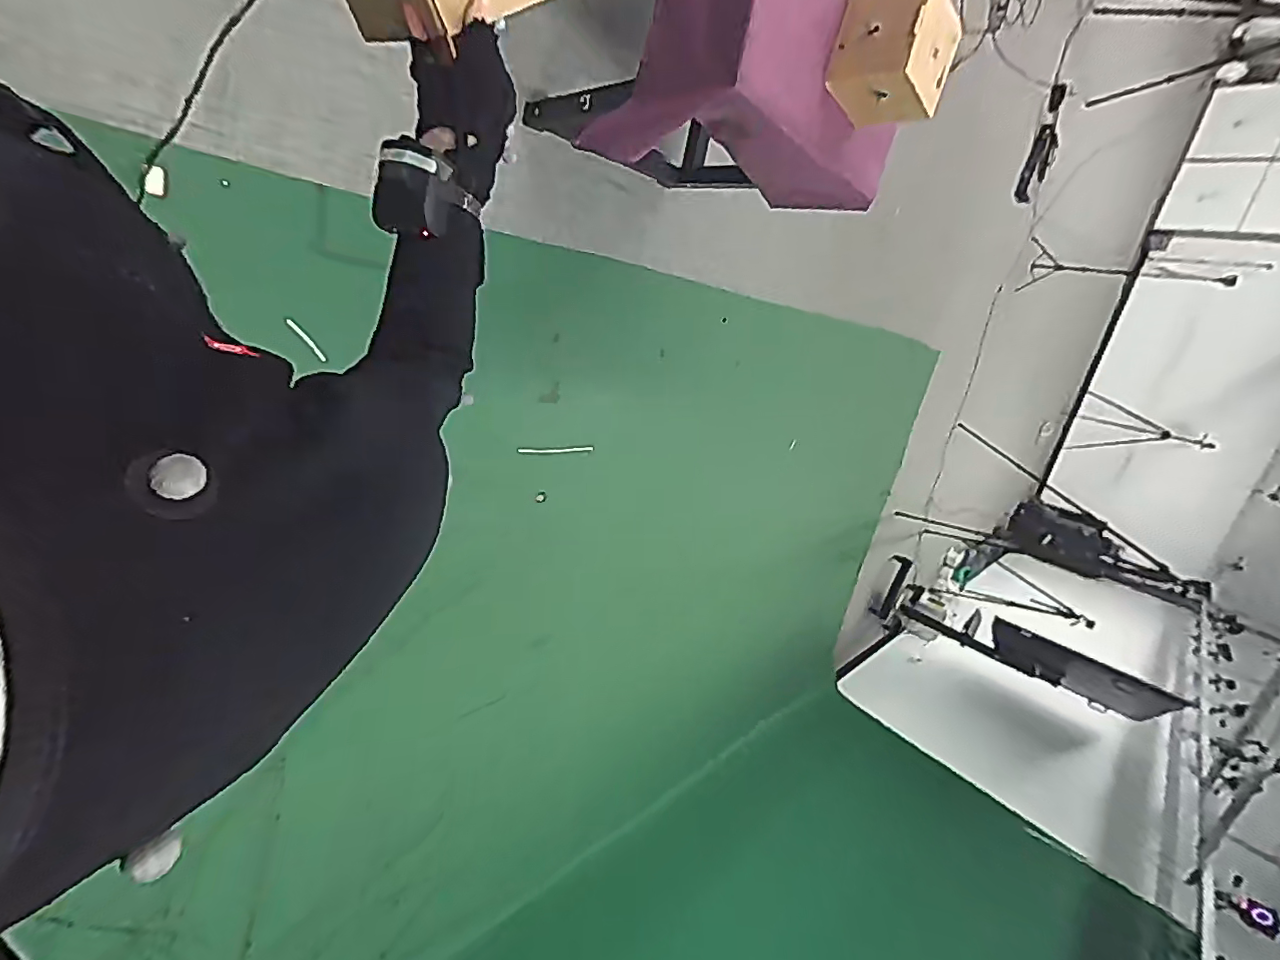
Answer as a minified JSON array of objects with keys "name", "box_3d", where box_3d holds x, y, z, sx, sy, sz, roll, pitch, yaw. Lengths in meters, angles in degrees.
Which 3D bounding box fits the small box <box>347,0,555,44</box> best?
[{"name":"small box","box_3d":[-0.176,-0.503,0.467,0.179,0.176,0.168,-42,142,-22]}]

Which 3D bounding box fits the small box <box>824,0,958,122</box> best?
[{"name":"small box","box_3d":[0.495,-0.844,1.078,0.179,0.176,0.168,4,107,-46]}]
